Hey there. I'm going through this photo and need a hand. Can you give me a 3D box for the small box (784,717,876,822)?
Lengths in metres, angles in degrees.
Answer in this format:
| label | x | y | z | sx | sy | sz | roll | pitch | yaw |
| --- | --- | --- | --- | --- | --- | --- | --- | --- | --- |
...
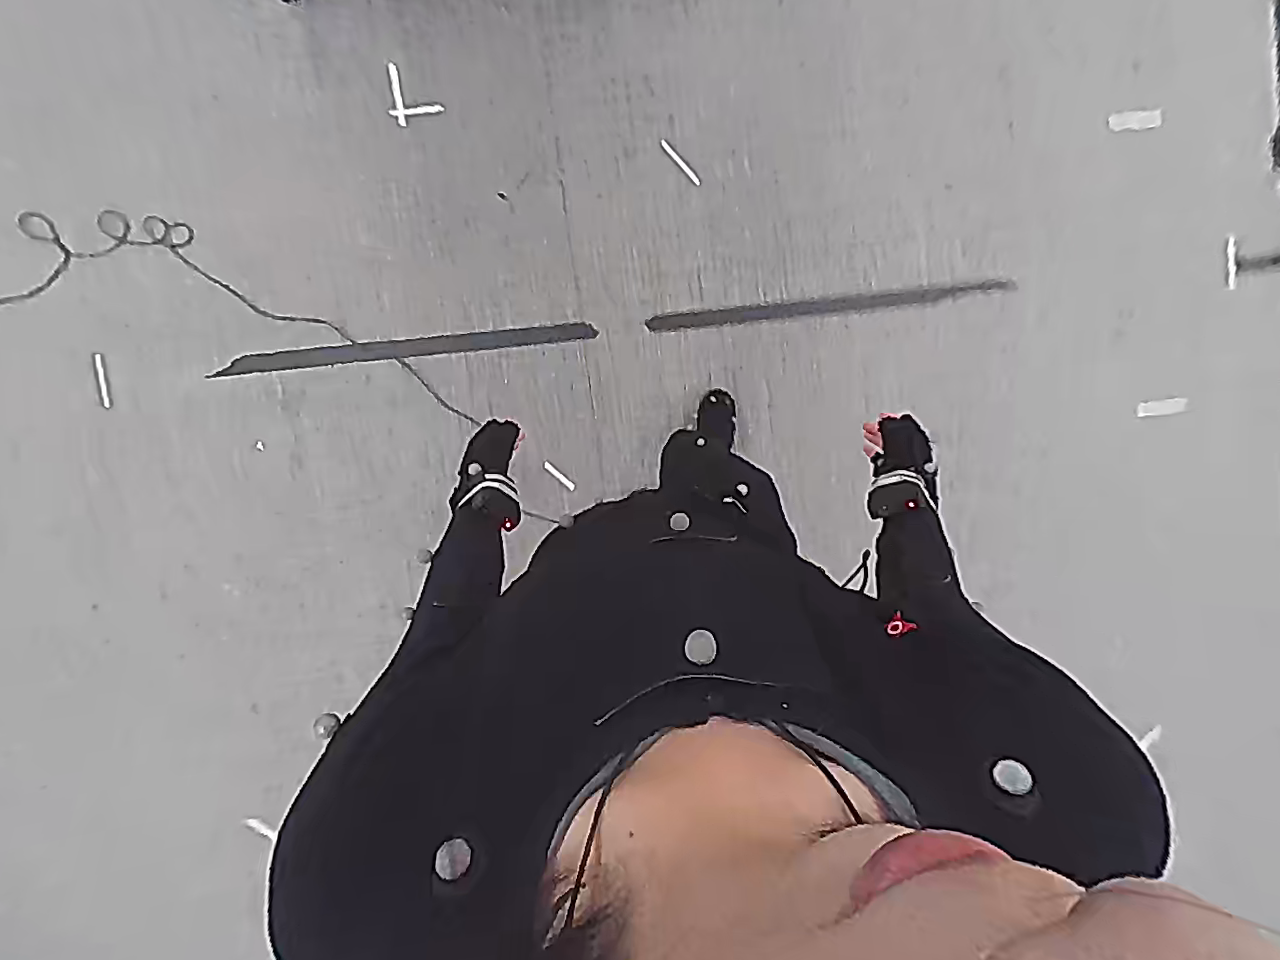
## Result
| label | x | y | z | sx | sy | sz | roll | pitch | yaw |
| --- | --- | --- | --- | --- | --- | --- | --- | --- | --- |
| small box | 0.517 | 0.799 | 1.506 | 0.179 | 0.176 | 0.168 | -19 | 96 | -2 |
